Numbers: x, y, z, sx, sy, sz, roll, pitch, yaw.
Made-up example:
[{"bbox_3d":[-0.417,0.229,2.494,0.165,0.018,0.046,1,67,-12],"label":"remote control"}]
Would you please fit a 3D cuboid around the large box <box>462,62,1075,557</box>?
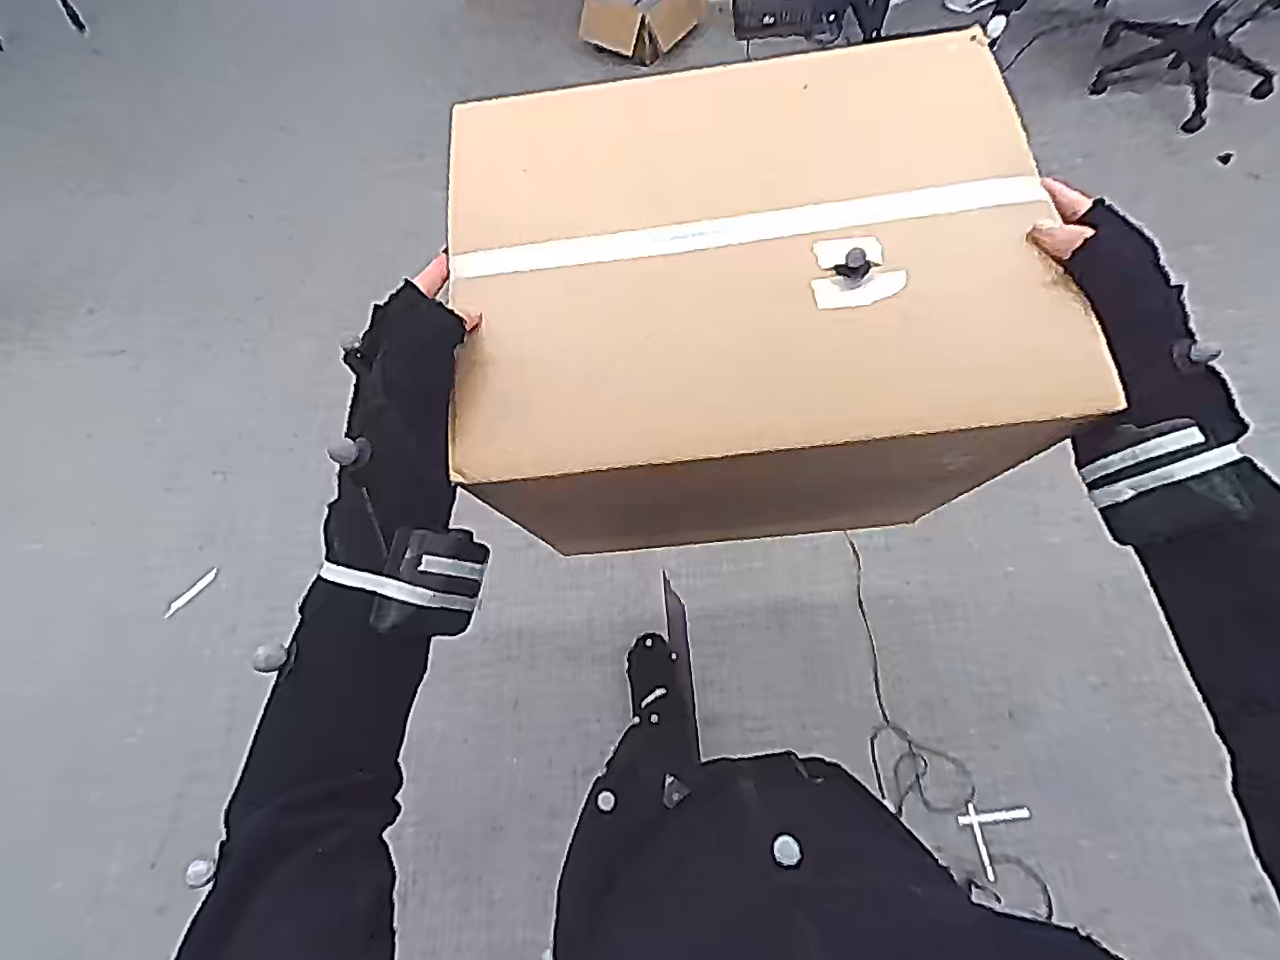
[{"bbox_3d":[0.074,-0.121,0.535,0.408,0.320,0.320,-7,73,3],"label":"large box"}]
